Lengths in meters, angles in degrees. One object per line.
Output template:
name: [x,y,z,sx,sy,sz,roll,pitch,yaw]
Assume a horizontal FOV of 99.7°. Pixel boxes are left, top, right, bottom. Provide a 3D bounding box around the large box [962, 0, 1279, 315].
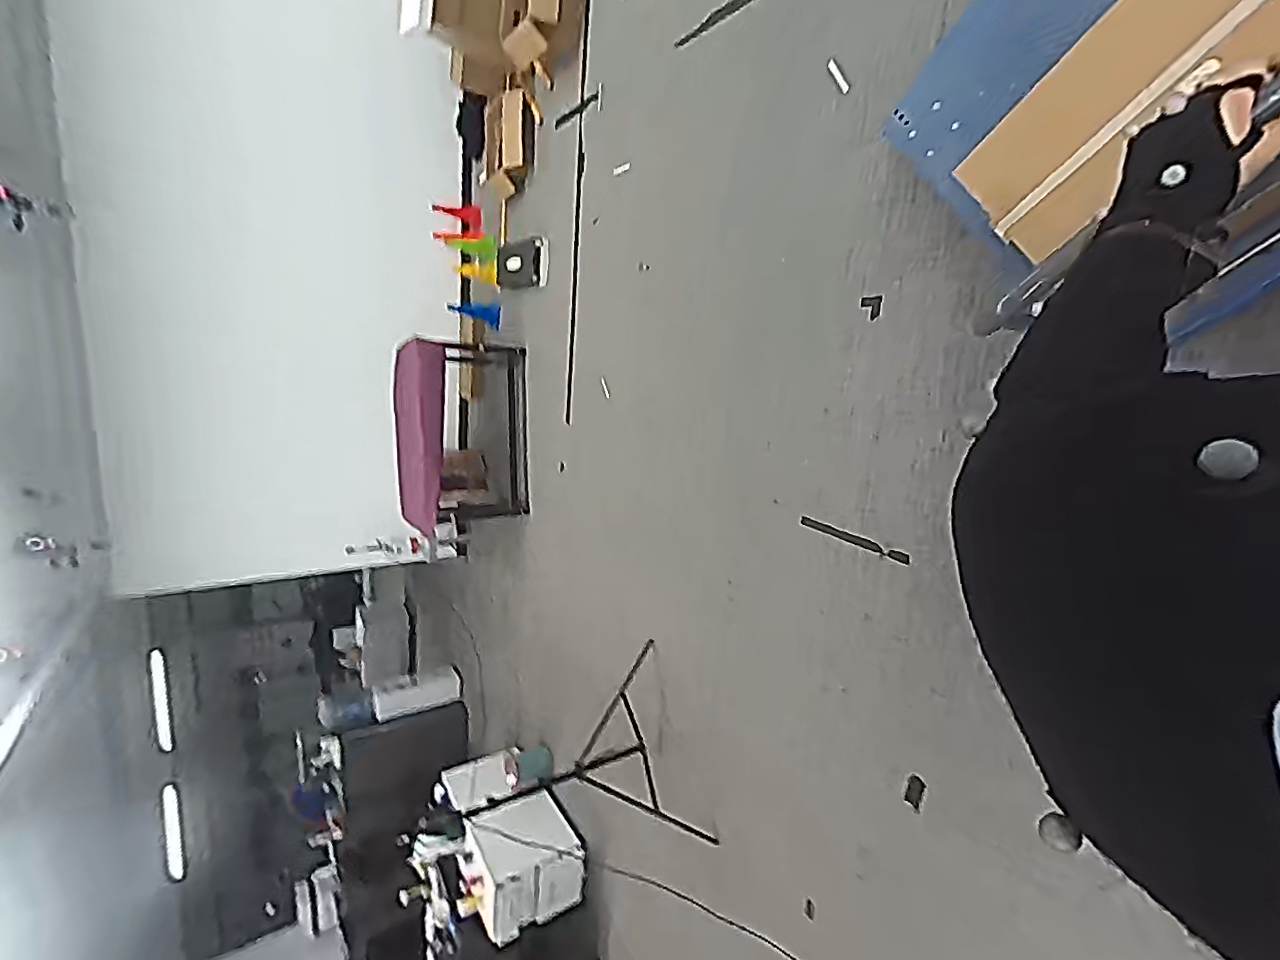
large box: [0.852,-0.540,0.879,0.408,0.320,0.320,-47,57,45]
